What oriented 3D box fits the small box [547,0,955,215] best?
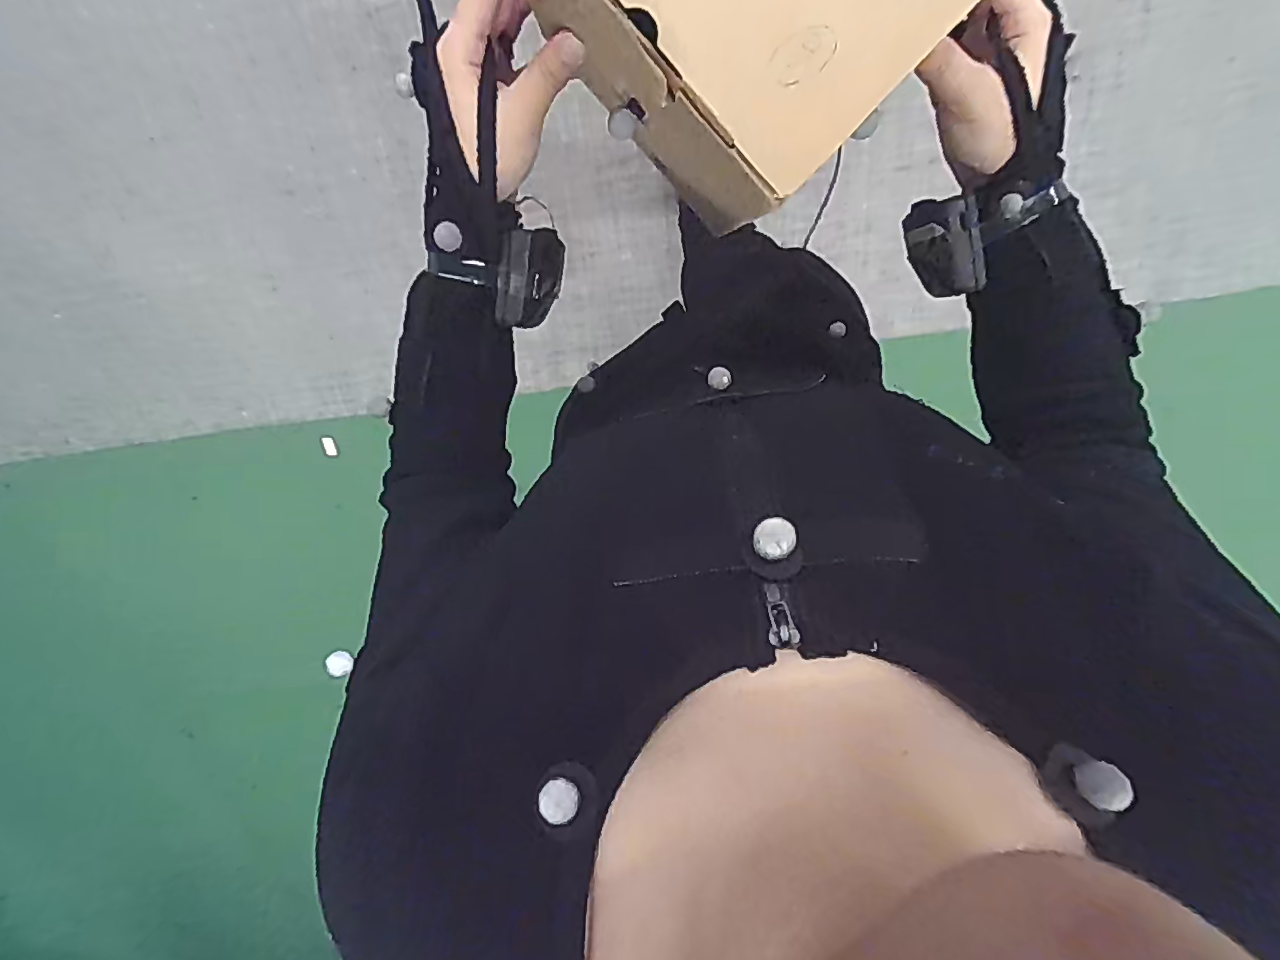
[{"bbox_3d":[0.058,-0.257,0.260,0.179,0.176,0.168,-43,105,15],"label":"small box"}]
